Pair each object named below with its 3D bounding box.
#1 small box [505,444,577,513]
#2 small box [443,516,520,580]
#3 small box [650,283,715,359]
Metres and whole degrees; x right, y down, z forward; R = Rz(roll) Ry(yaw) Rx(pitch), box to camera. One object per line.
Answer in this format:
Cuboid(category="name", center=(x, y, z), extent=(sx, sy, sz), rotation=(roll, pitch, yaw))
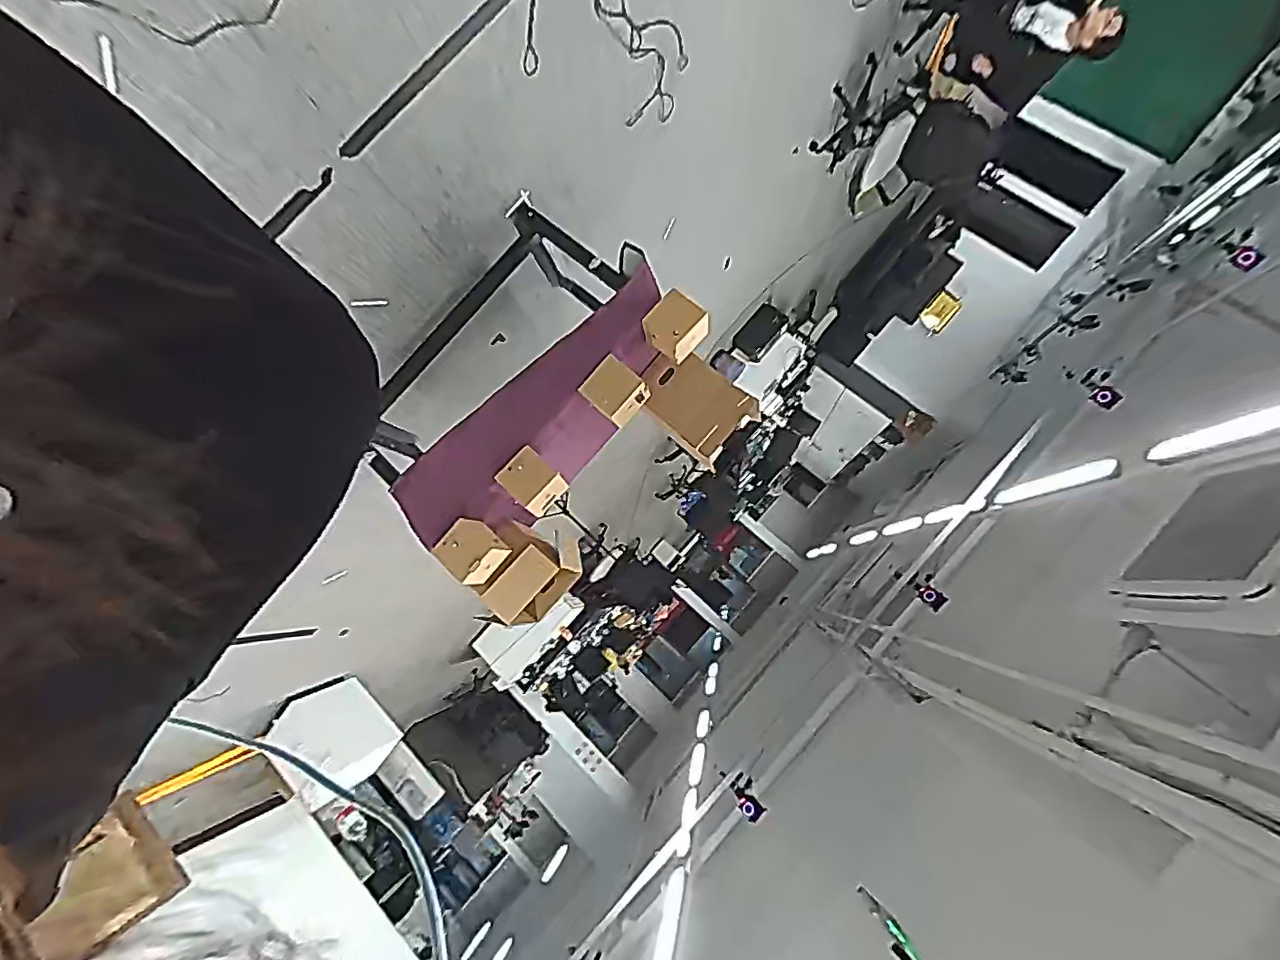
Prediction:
Cuboid(category="small box", center=(-0.360, -0.007, 1.972), extent=(0.168, 0.176, 0.179), rotation=(-47, 165, -8))
Cuboid(category="small box", center=(-0.576, 0.246, 1.970), extent=(0.168, 0.176, 0.179), rotation=(-50, 166, -1))
Cuboid(category="small box", center=(0.159, -0.594, 2.011), extent=(0.179, 0.176, 0.168), rotation=(-47, 166, -3))
